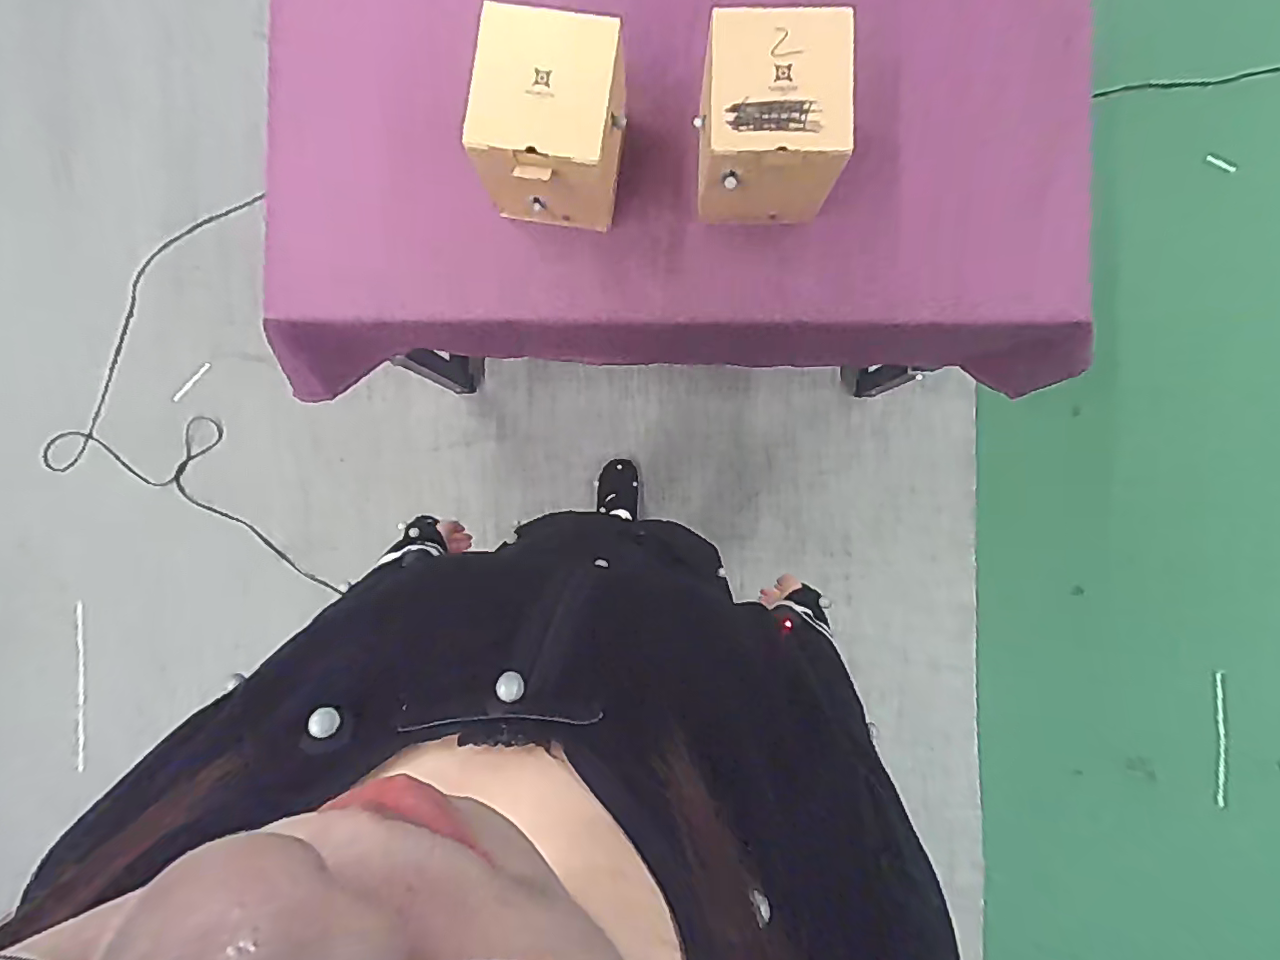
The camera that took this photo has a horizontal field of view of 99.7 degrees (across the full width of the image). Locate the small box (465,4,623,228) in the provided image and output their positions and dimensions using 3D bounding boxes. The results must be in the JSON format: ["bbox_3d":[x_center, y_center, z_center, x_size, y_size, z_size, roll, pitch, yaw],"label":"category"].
[{"bbox_3d":[-0.116,-0.473,0.727,0.168,0.176,0.179,9,90,1],"label":"small box"}]
